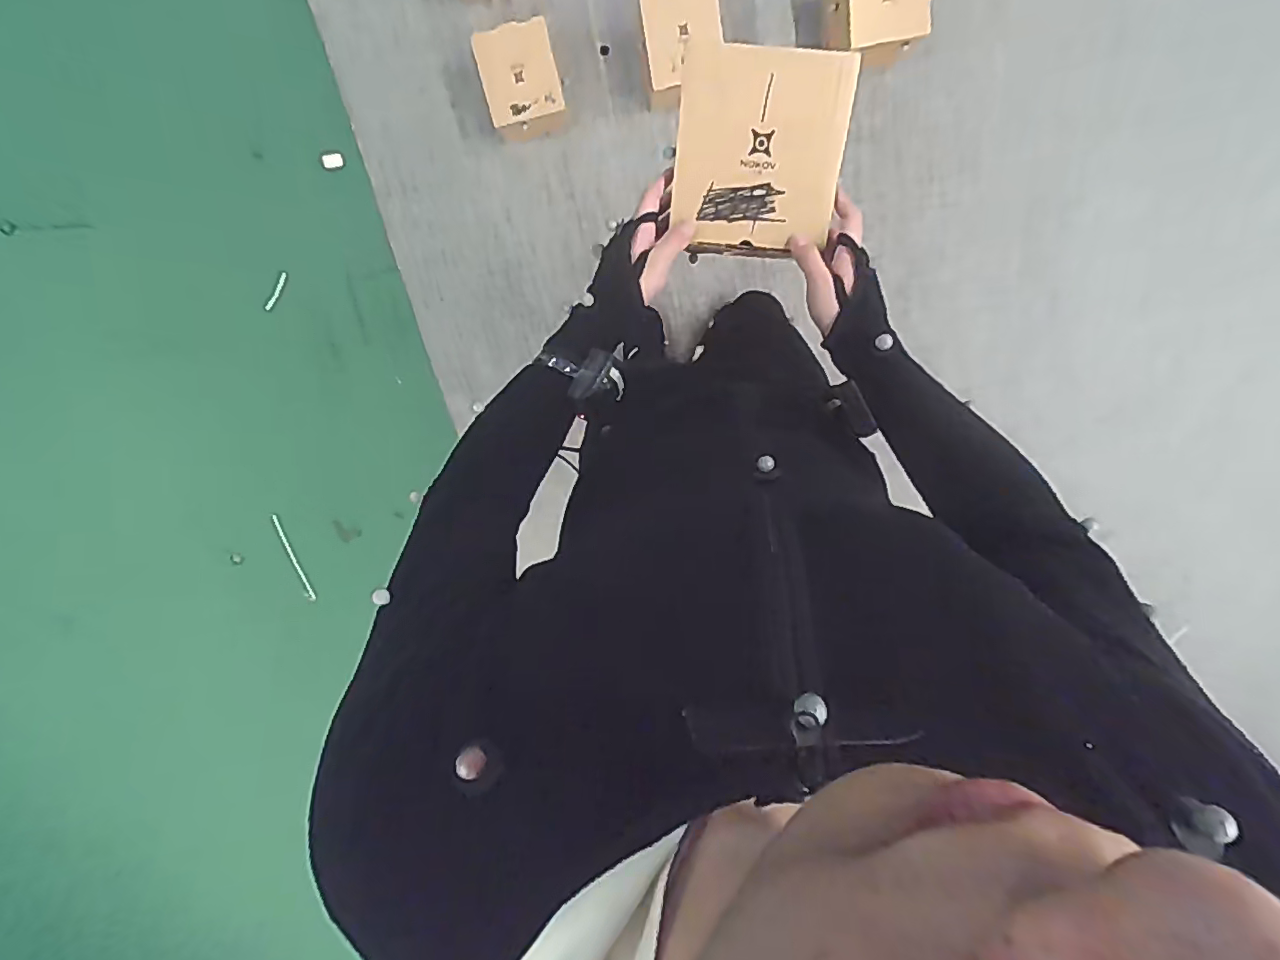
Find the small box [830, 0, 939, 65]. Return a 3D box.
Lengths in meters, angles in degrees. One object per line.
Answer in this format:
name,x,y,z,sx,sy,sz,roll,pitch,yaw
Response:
small box,0.527,-1.036,1.186,0.179,0.176,0.168,-10,110,2

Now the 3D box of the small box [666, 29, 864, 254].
small box,0.120,-0.349,0.592,0.168,0.176,0.179,5,110,2

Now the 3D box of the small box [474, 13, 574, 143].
small box,-0.253,-0.899,1.225,0.168,0.176,0.179,-12,109,4

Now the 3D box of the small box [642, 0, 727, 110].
small box,0.098,-0.965,1.205,0.168,0.176,0.179,-10,110,3
